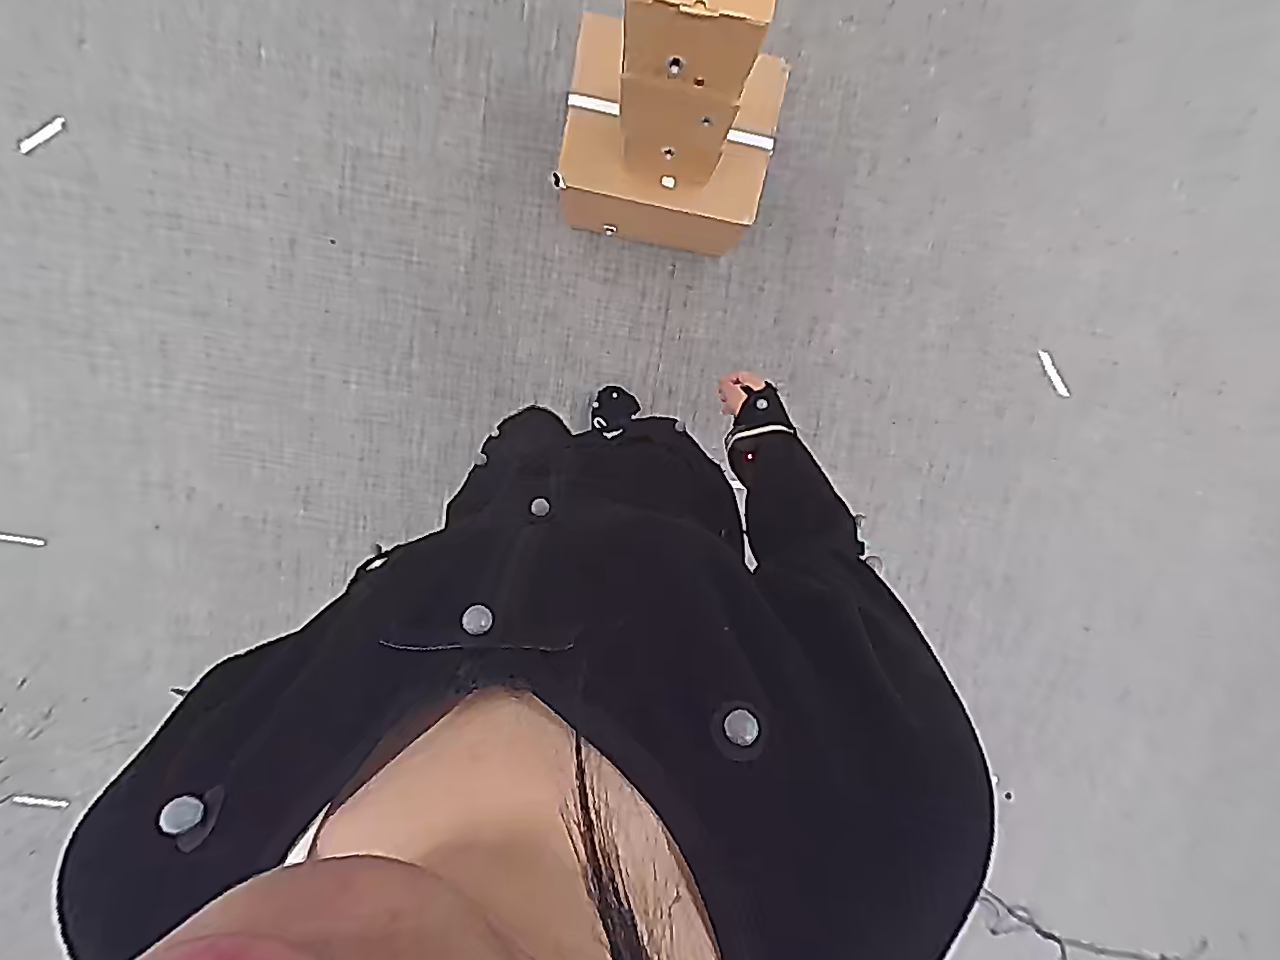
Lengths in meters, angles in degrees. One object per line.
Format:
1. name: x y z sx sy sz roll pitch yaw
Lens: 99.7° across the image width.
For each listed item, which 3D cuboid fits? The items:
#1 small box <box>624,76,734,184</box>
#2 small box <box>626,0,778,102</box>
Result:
1. small box: 0.066 -0.659 0.978 0.179 0.176 0.168 8 102 -5
2. small box: 0.075 -0.607 0.655 0.168 0.176 0.179 8 102 -5
